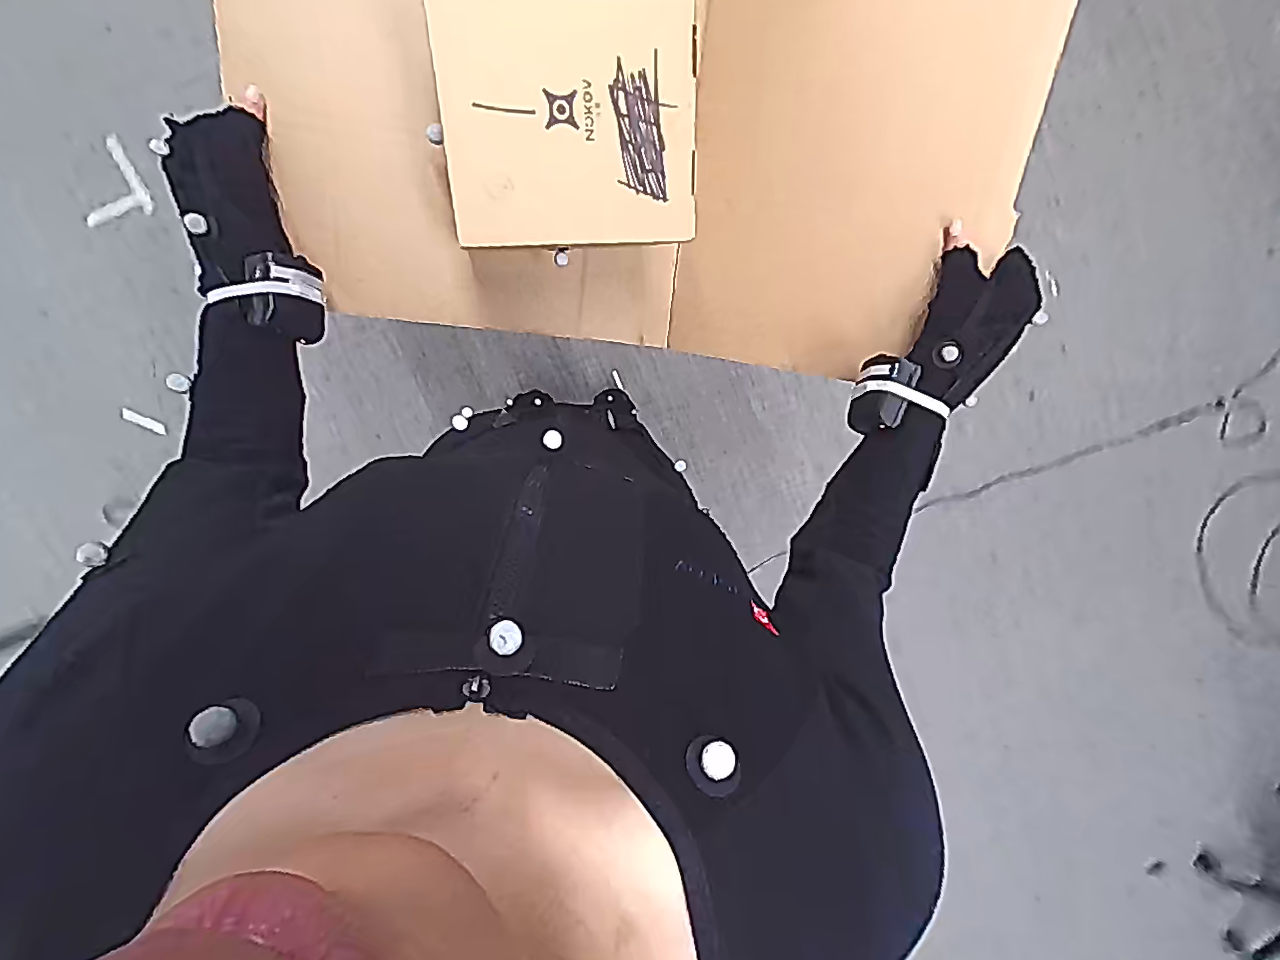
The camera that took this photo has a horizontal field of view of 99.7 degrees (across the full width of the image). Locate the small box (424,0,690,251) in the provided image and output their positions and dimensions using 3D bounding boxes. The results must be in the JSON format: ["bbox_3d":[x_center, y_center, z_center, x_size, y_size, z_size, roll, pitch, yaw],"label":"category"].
[{"bbox_3d":[-0.068,-0.281,0.446,0.179,0.176,0.168,-8,113,-12],"label":"small box"}]
